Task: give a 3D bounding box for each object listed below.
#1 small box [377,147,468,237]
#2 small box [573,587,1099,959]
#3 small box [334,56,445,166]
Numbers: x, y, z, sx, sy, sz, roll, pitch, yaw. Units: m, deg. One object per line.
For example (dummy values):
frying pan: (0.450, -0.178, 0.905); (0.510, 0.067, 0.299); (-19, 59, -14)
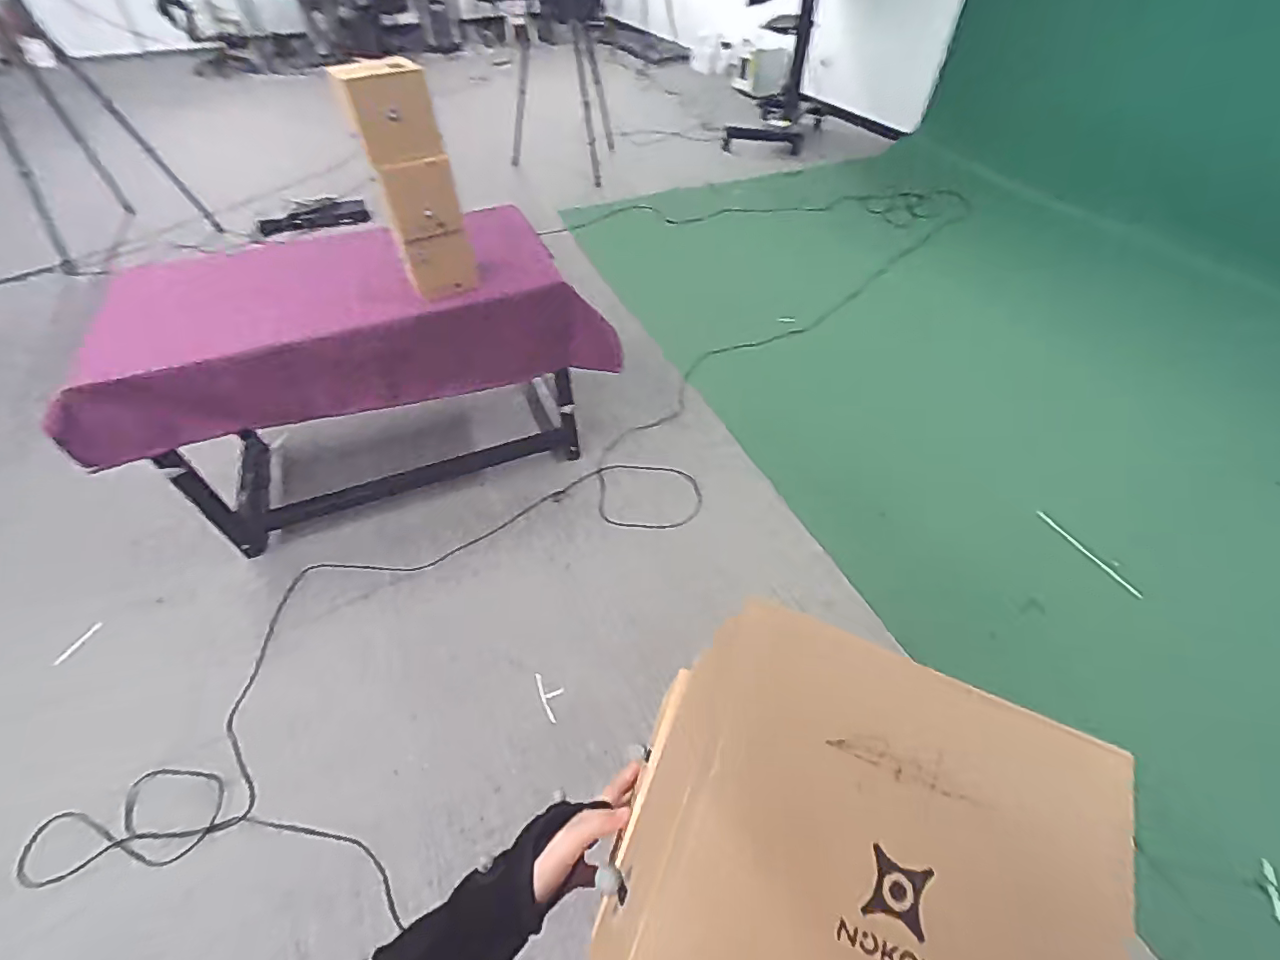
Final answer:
small box: (-0.554, -0.739, 1.368); (0.168, 0.176, 0.179); (-23, 51, -18)
small box: (0.075, 0.184, 0.268); (0.168, 0.176, 0.179); (22, 63, 8)
small box: (-0.570, -0.854, 1.251); (0.179, 0.176, 0.168); (-26, 51, -19)
